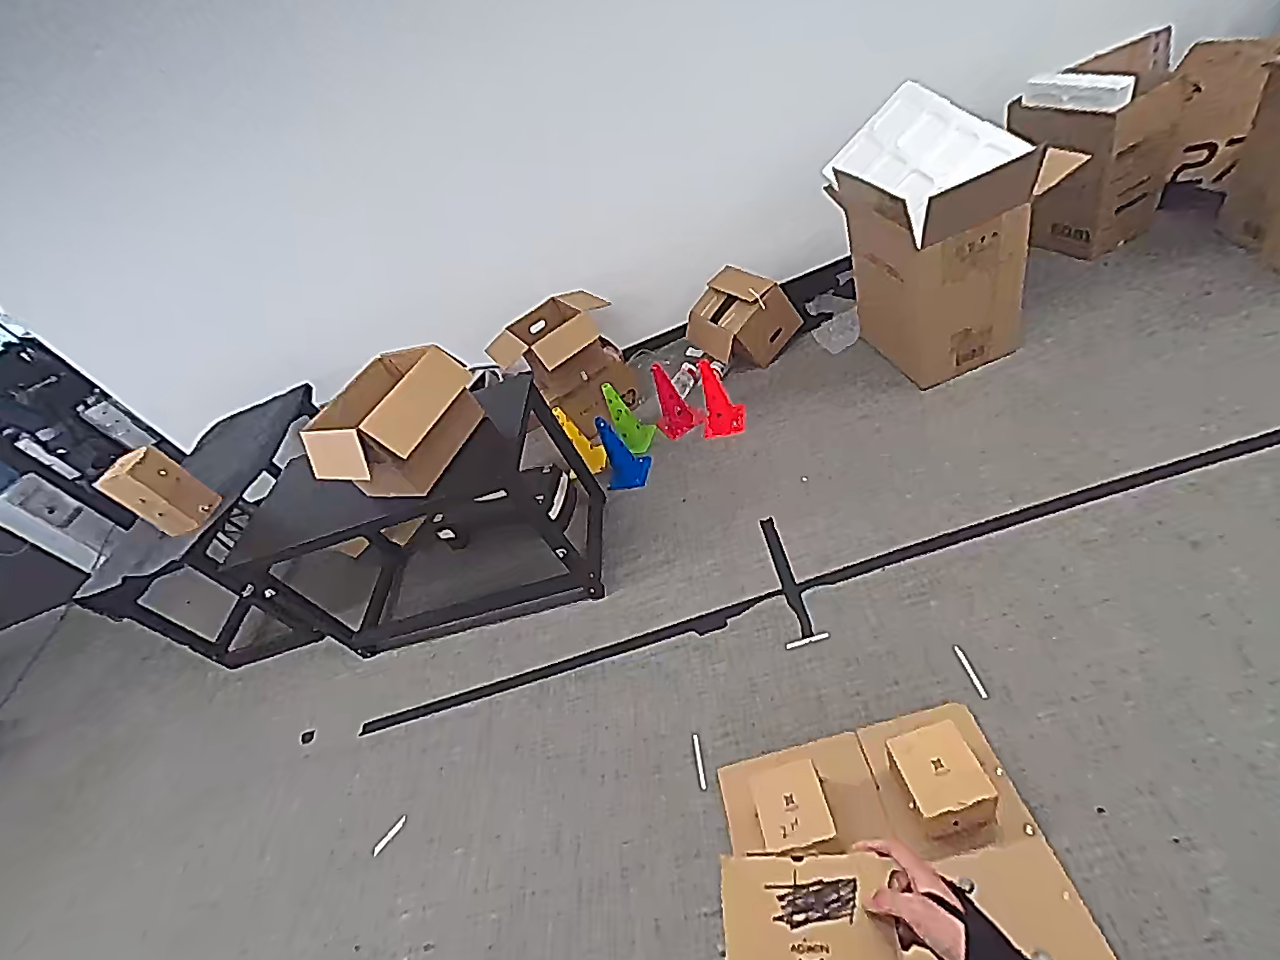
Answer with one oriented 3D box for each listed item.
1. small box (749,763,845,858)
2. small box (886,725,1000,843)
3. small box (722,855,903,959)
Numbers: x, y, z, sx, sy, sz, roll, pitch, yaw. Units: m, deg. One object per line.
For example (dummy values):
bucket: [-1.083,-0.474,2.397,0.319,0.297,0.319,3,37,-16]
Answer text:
small box: [0.384,0.831,1.323,0.168,0.176,0.179,-22,41,9]
small box: [0.704,0.716,1.270,0.168,0.176,0.179,-23,40,6]
small box: [0.181,0.512,0.559,0.168,0.176,0.179,-10,44,12]
